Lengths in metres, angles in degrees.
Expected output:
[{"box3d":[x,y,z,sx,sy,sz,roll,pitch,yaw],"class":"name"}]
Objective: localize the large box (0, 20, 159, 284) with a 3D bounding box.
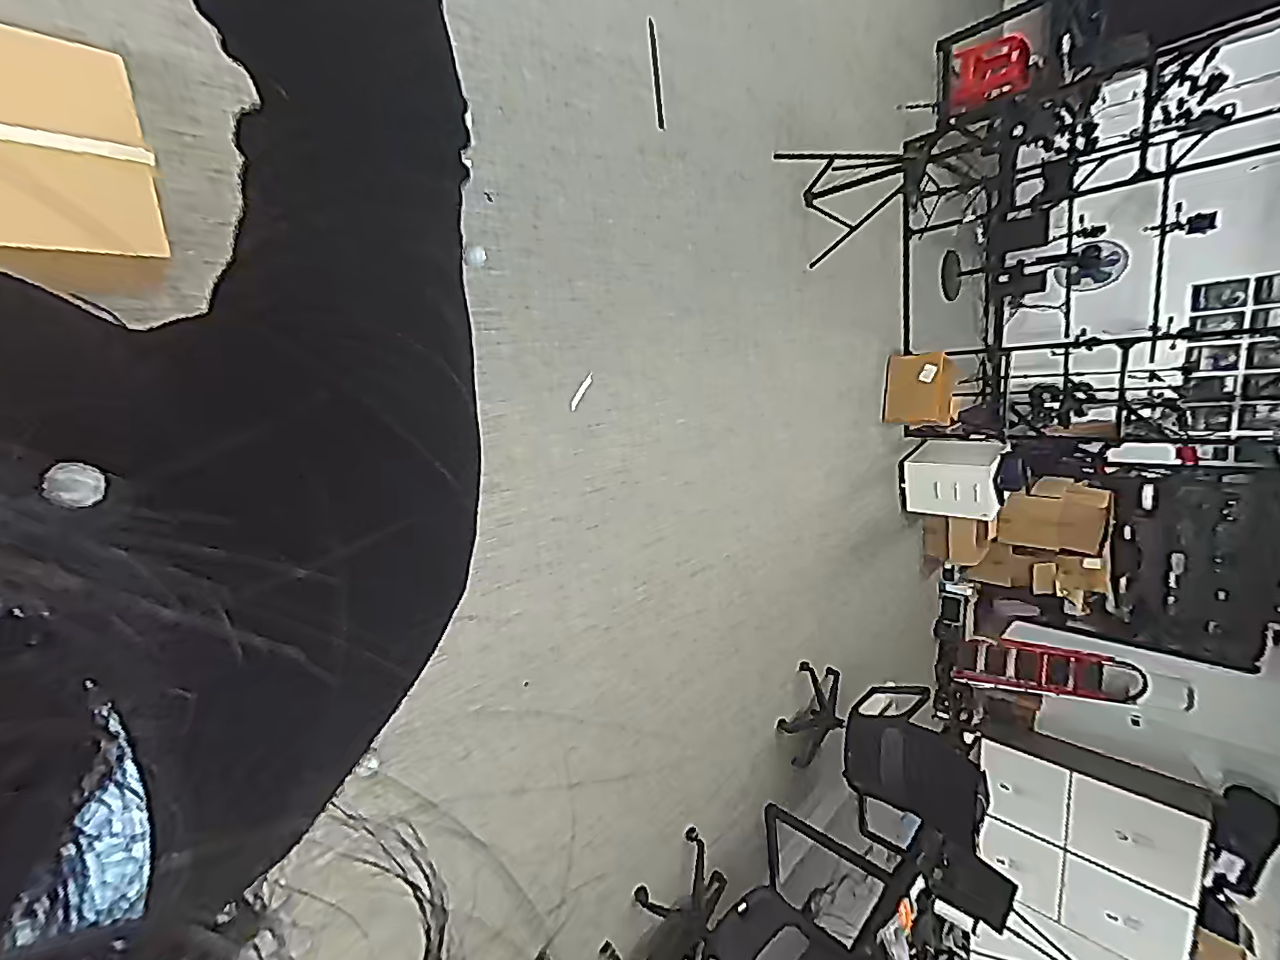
[{"box3d":[-1.066,-0.500,0.849,0.408,0.320,0.320,-16,103,-44],"class":"large box"}]
